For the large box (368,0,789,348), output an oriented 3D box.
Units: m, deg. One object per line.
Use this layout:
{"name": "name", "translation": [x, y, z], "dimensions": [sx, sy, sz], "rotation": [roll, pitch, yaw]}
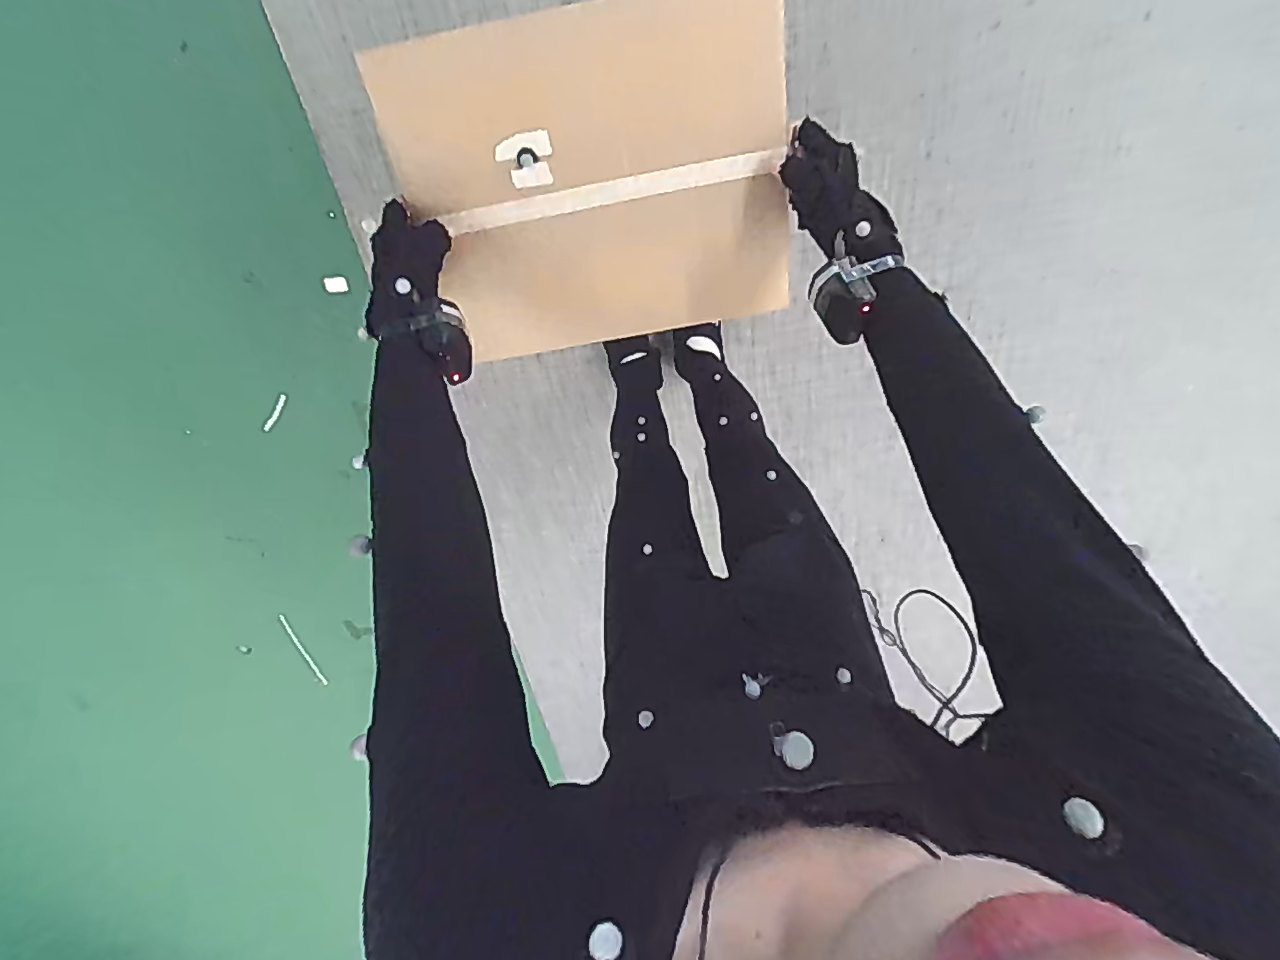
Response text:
{"name": "large box", "translation": [-0.044, -0.403, 0.704], "dimensions": [0.408, 0.320, 0.320], "rotation": [-9, 122, 4]}
